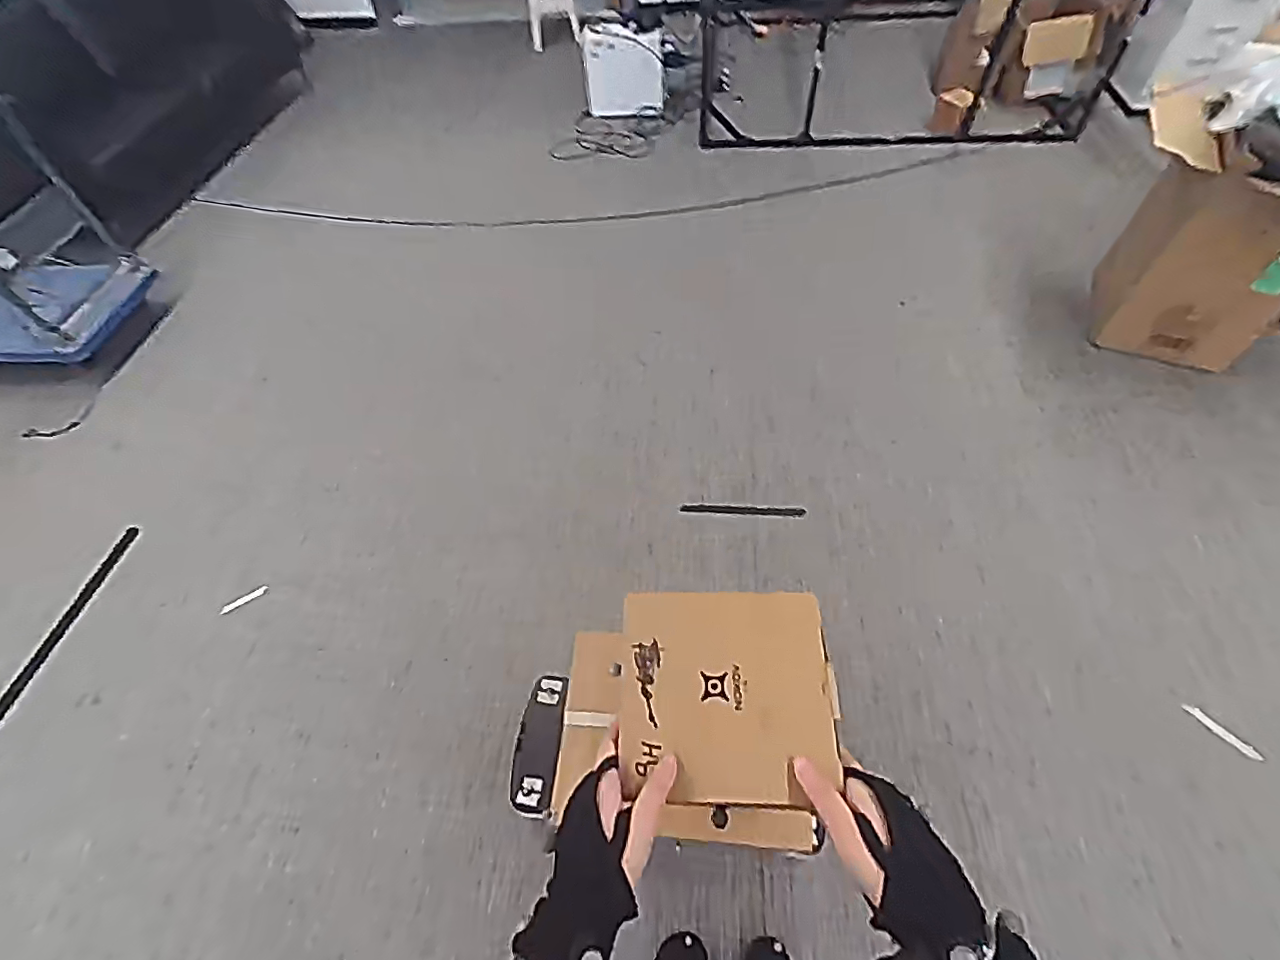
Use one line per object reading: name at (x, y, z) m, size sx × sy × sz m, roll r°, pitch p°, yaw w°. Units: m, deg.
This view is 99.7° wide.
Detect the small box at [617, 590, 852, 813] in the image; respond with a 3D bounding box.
small box at (0.075, 0.212, 0.507) m, size 0.179 × 0.176 × 0.168 m, roll 0°, pitch 57°, yaw 3°

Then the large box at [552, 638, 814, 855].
large box at (0.085, 0.506, 1.021) m, size 0.408 × 0.320 × 0.320 m, roll 1°, pitch 54°, yaw 7°
